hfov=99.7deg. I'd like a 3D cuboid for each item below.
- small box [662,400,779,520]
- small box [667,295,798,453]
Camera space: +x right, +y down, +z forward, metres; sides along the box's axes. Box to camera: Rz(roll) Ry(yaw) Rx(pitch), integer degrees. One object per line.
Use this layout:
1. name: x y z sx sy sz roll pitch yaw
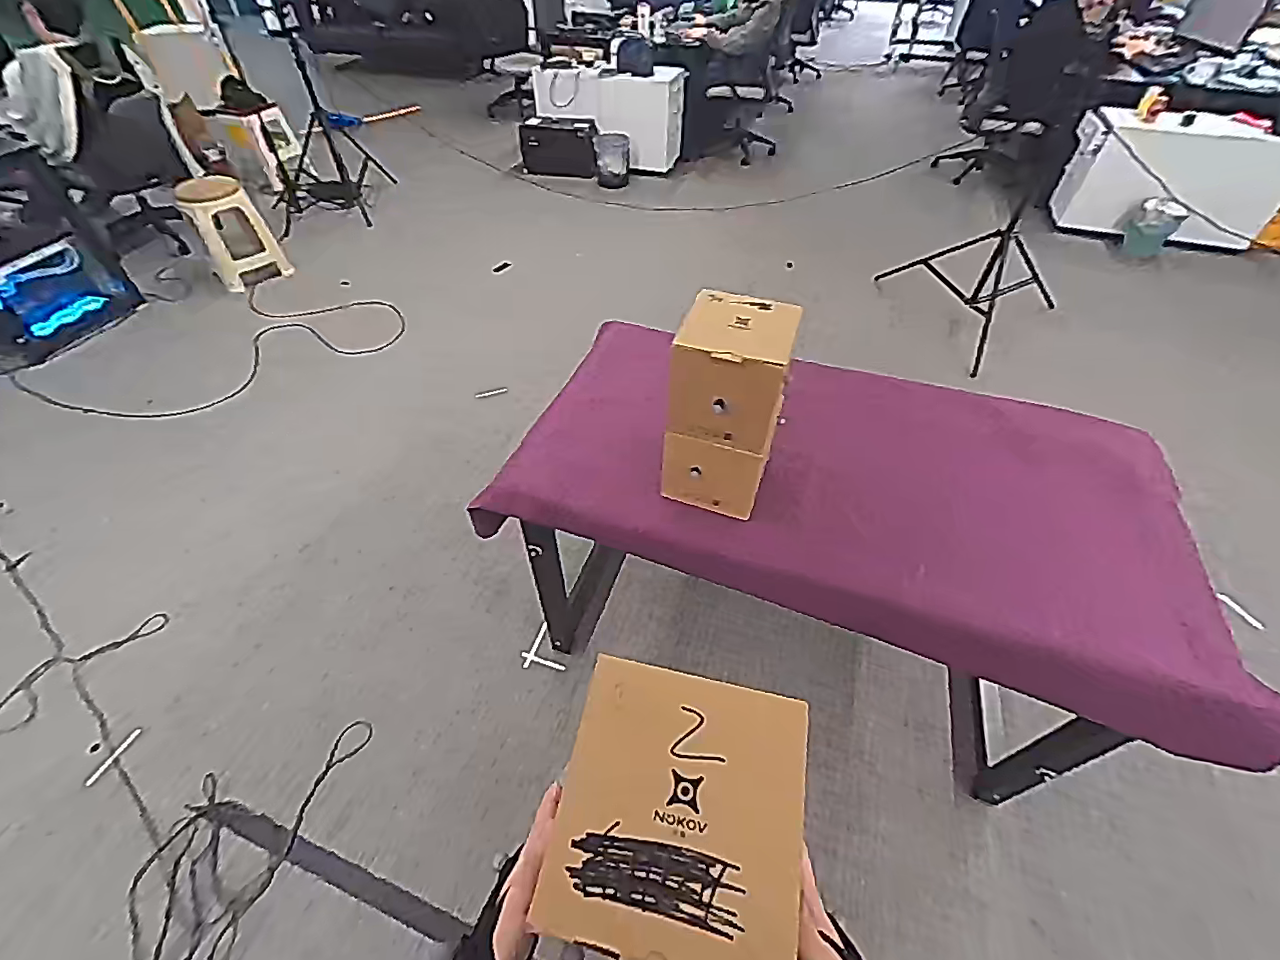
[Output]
1. small box: 0.143 -0.053 0.989 0.168 0.176 0.179 16 48 13
2. small box: 0.144 -0.168 0.872 0.168 0.176 0.179 15 49 12
